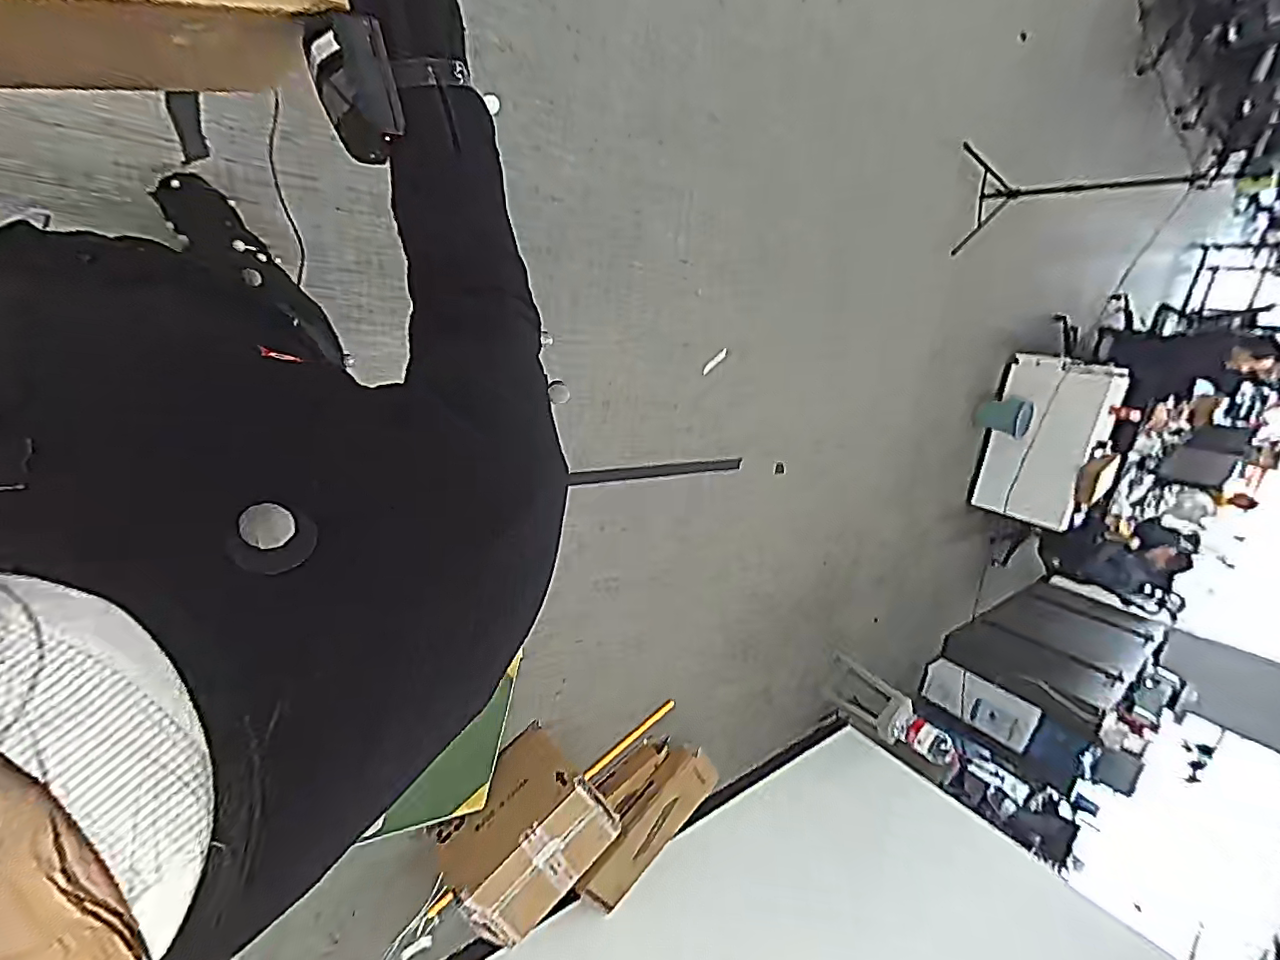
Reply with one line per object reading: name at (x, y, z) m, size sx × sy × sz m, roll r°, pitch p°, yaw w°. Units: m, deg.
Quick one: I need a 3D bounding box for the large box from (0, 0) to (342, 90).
large box at (-0.432, -0.385, 0.247) m, size 0.408 × 0.320 × 0.320 m, roll -25°, pitch 127°, yaw -31°
